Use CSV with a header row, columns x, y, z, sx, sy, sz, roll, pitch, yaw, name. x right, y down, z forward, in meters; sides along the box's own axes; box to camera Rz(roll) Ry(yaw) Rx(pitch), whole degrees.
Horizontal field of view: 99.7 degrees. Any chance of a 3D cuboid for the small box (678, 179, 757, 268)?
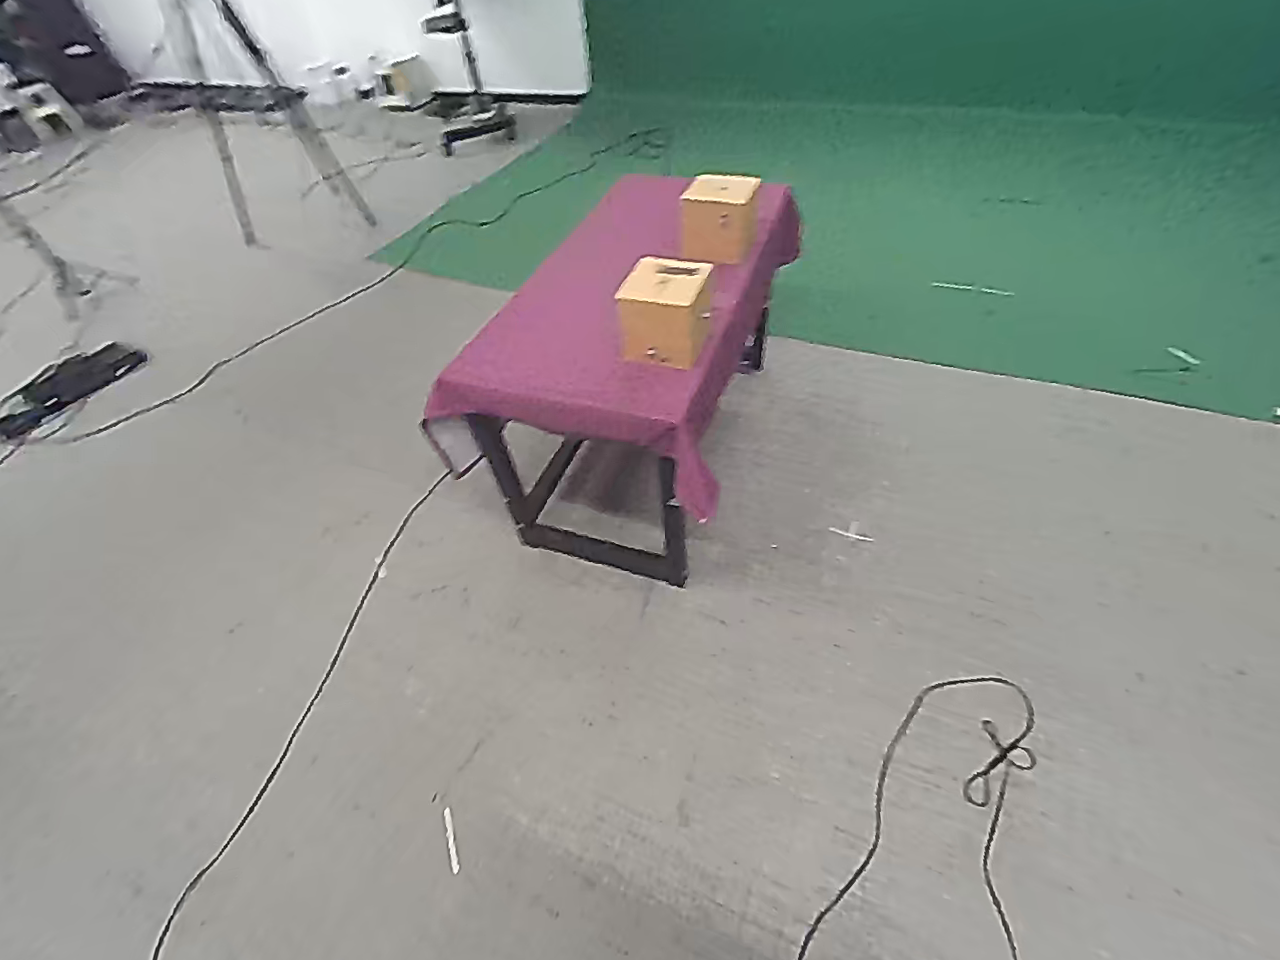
x,y,z,sx,sy,sz,roll,pitch,yaw,name
0.218,-0.719,1.521,0.179,0.176,0.168,15,52,18,small box
